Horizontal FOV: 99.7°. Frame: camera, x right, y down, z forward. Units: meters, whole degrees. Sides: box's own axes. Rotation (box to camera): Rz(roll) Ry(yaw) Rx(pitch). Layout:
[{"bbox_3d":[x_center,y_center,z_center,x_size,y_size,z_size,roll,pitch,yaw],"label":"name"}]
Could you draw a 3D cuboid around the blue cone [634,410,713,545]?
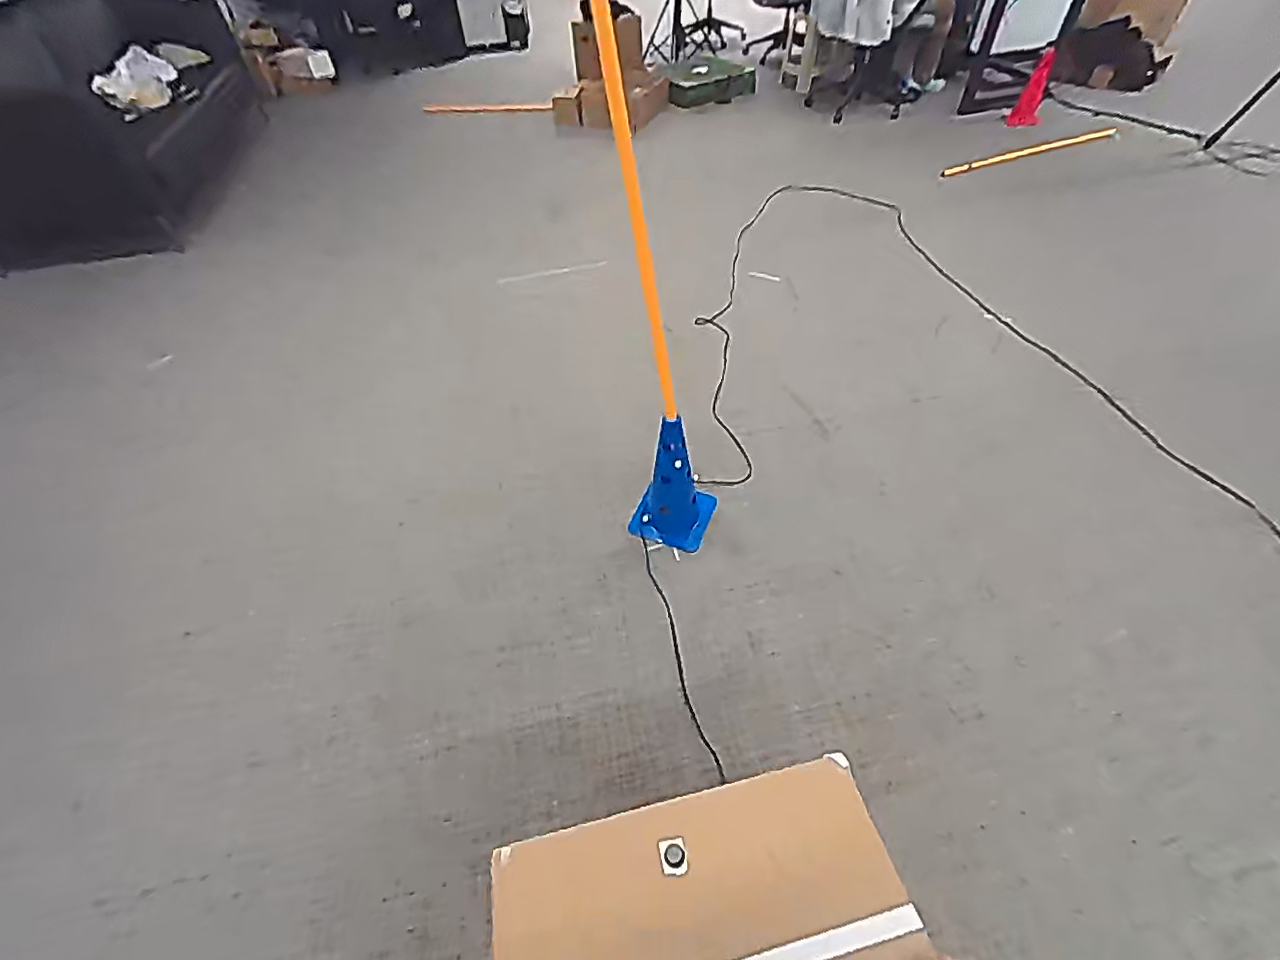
[{"bbox_3d":[0.082,-0.020,1.331,0.192,0.380,0.193,13,52,16],"label":"blue cone"}]
